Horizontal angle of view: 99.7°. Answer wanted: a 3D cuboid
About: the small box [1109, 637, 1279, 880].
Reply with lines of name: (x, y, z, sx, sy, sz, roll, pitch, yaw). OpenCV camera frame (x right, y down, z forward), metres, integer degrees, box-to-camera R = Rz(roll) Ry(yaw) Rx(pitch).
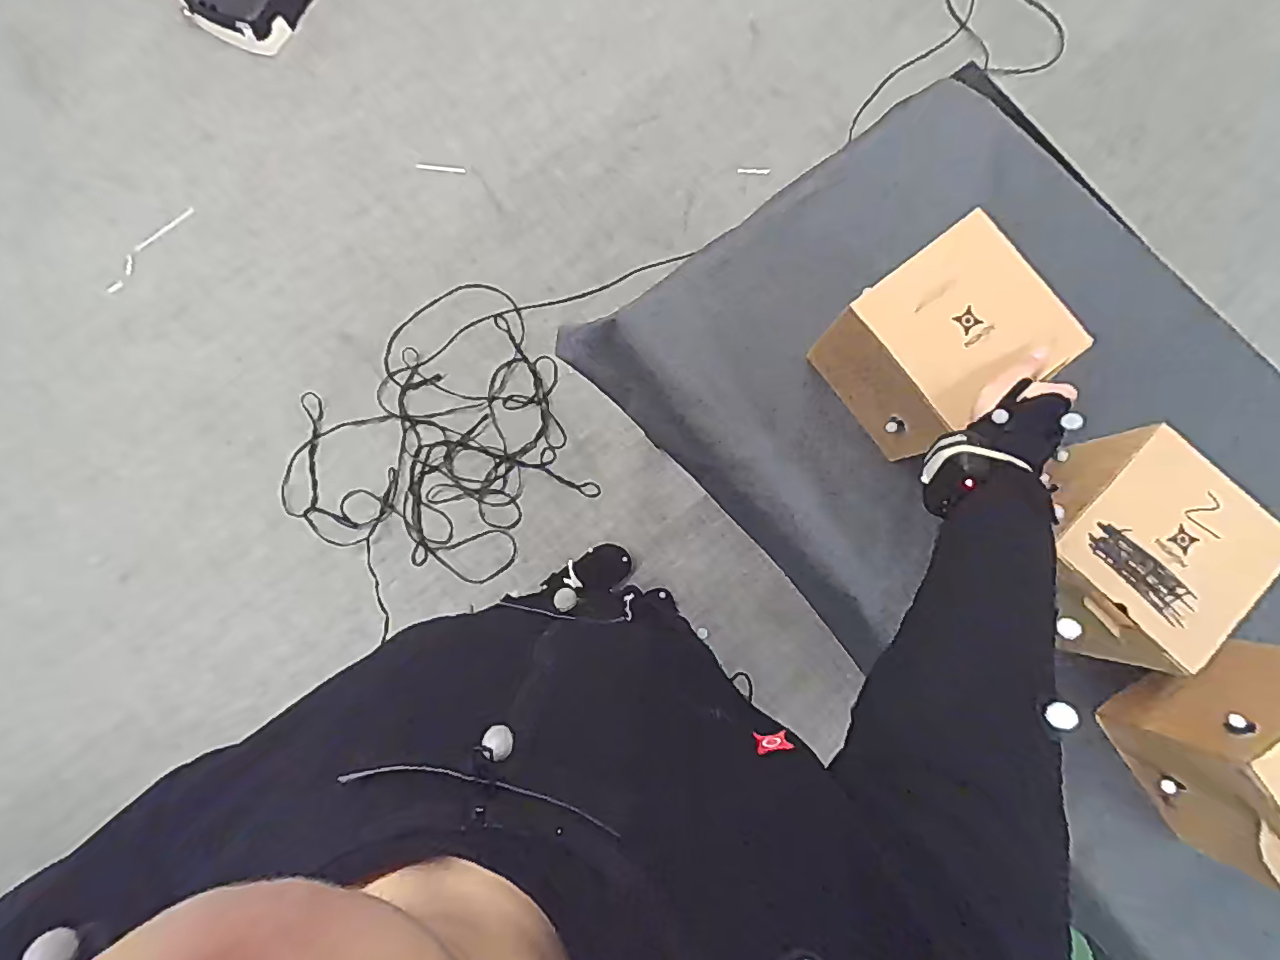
small box: (0.656, 0.282, 0.554, 0.179, 0.176, 0.168, -32, 84, -4)

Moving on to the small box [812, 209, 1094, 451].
small box: (0.325, -0.147, 0.603, 0.168, 0.176, 0.179, -38, 84, -1)
